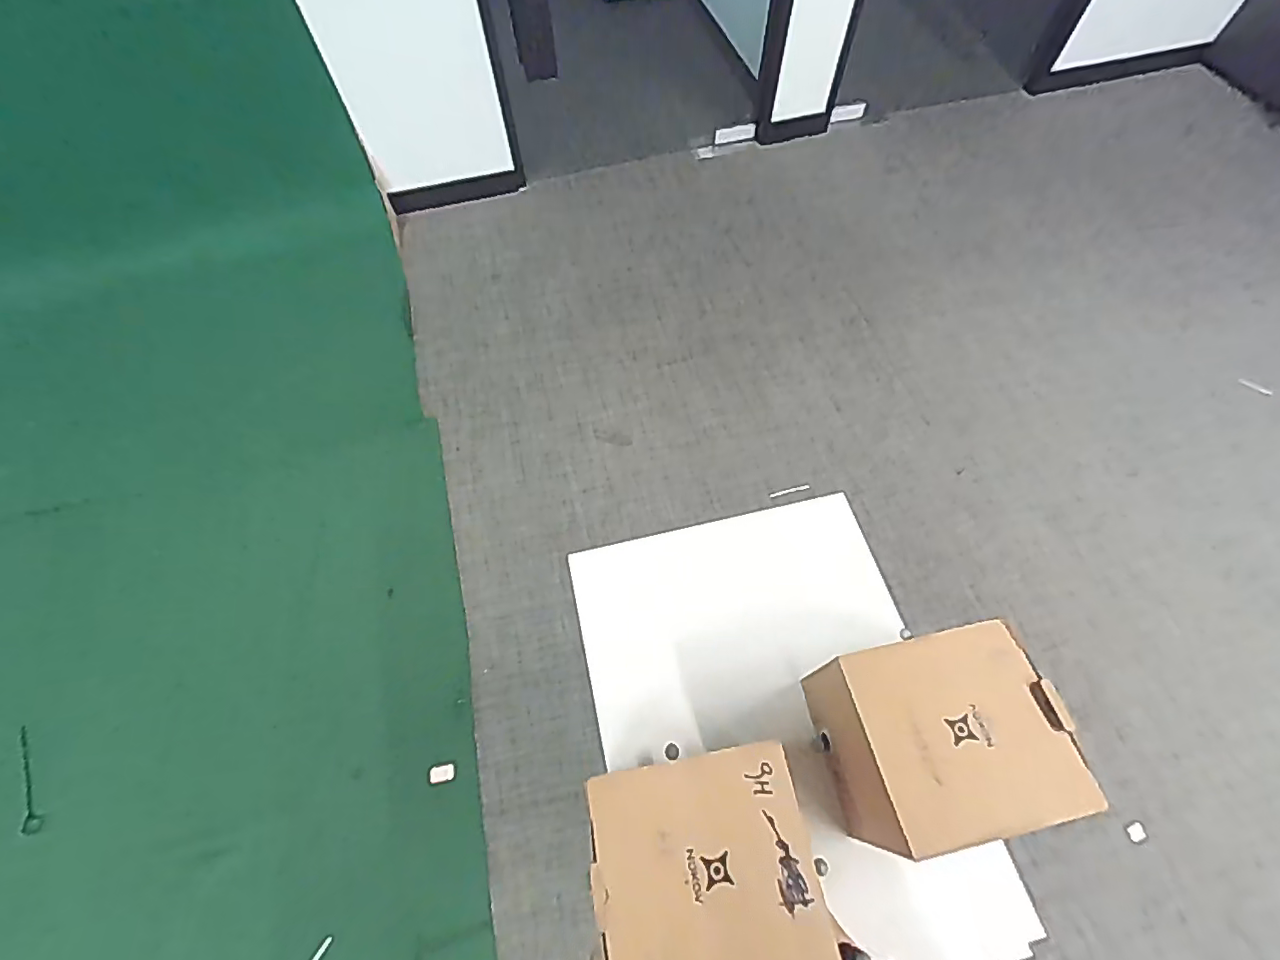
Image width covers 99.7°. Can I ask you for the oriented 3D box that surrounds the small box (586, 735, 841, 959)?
[{"bbox_3d":[0.053,0.345,0.499,0.179,0.176,0.168,-9,62,-5],"label":"small box"}]

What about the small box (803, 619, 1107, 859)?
[{"bbox_3d":[0.289,0.254,0.546,0.179,0.176,0.168,-12,63,-3],"label":"small box"}]
